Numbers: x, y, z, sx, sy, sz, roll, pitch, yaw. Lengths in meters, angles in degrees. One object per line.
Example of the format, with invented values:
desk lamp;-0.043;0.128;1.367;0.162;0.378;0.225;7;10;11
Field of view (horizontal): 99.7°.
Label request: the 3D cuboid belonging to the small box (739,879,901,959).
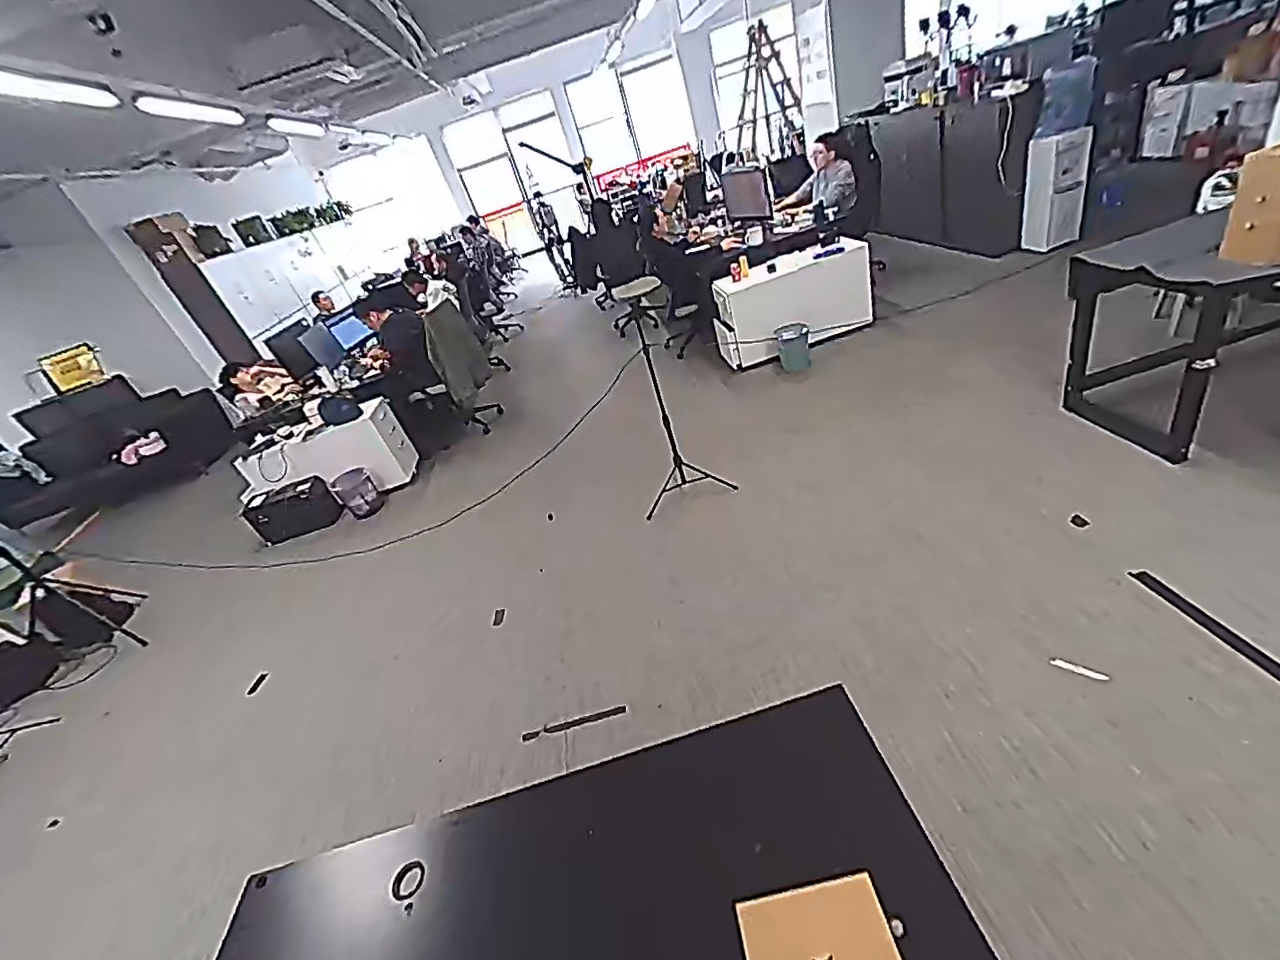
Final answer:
small box;0.223;0.600;0.611;0.168;0.176;0.179;-17;31;6
